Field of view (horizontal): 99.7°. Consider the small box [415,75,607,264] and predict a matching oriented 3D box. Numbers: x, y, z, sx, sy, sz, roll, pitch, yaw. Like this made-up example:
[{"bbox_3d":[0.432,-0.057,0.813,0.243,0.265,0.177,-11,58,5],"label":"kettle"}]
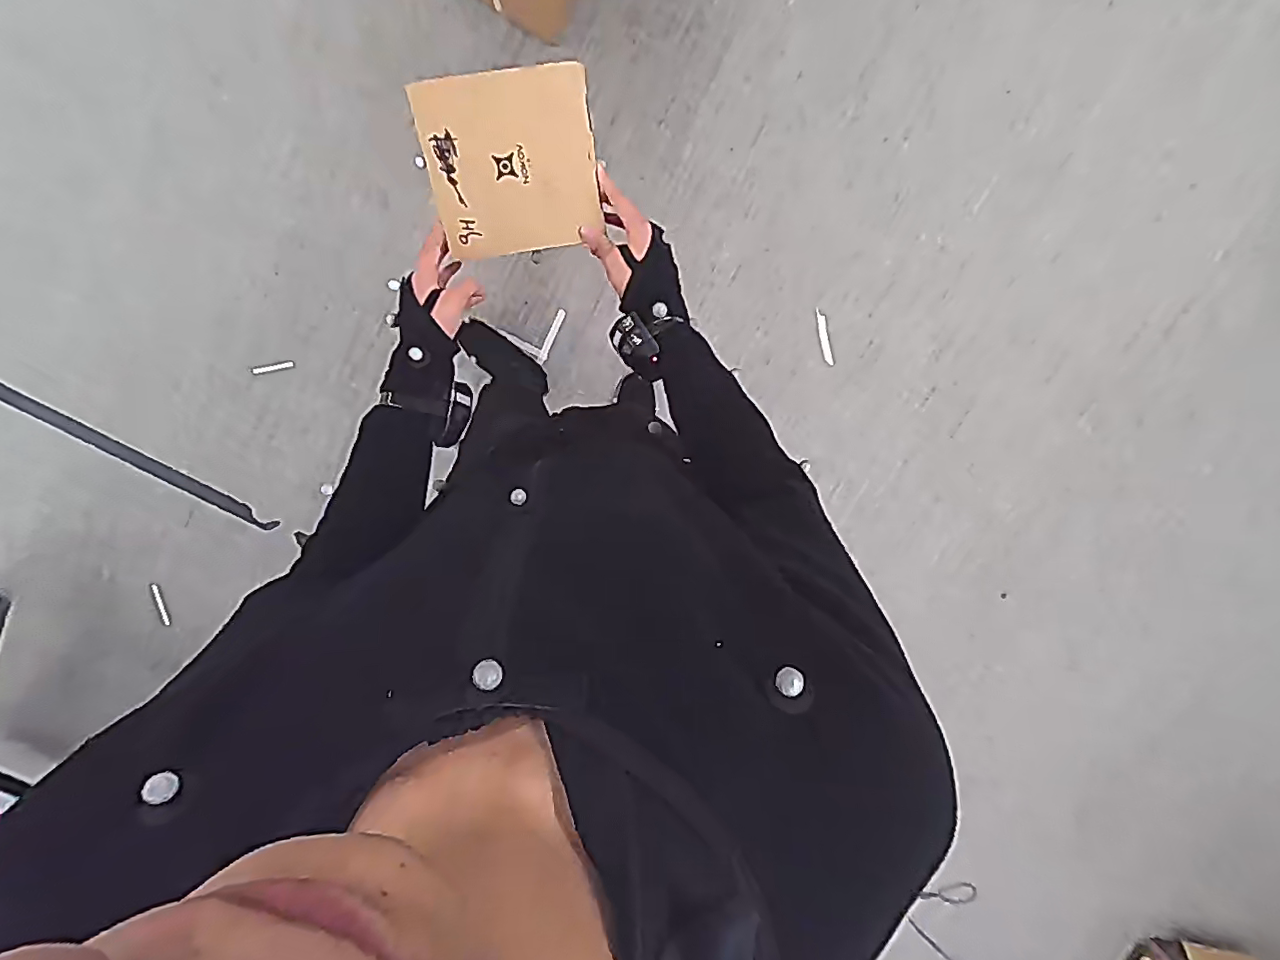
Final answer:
[{"bbox_3d":[-0.143,-0.362,0.649,0.179,0.176,0.168,-10,115,-4],"label":"small box"}]
